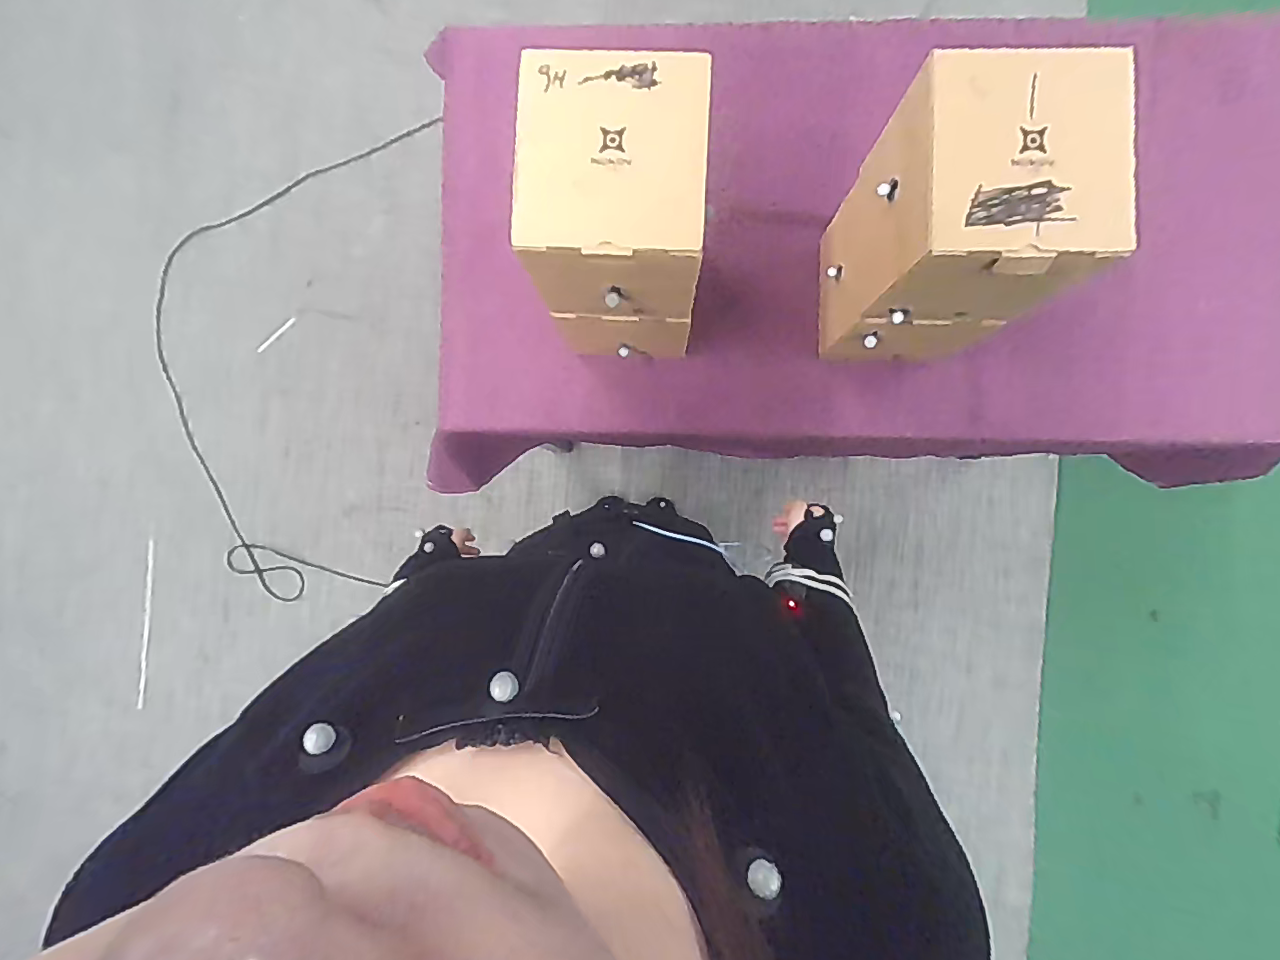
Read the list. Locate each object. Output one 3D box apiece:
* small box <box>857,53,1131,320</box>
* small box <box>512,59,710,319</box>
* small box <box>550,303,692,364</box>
[{"bbox_3d":[0.325,-0.266,0.529,0.168,0.176,0.179,1,87,2],"label":"small box"},{"bbox_3d":[-0.022,-0.271,0.542,0.168,0.176,0.179,3,89,2],"label":"small box"},{"bbox_3d":[-0.016,-0.263,0.707,0.168,0.176,0.179,2,88,3],"label":"small box"}]
